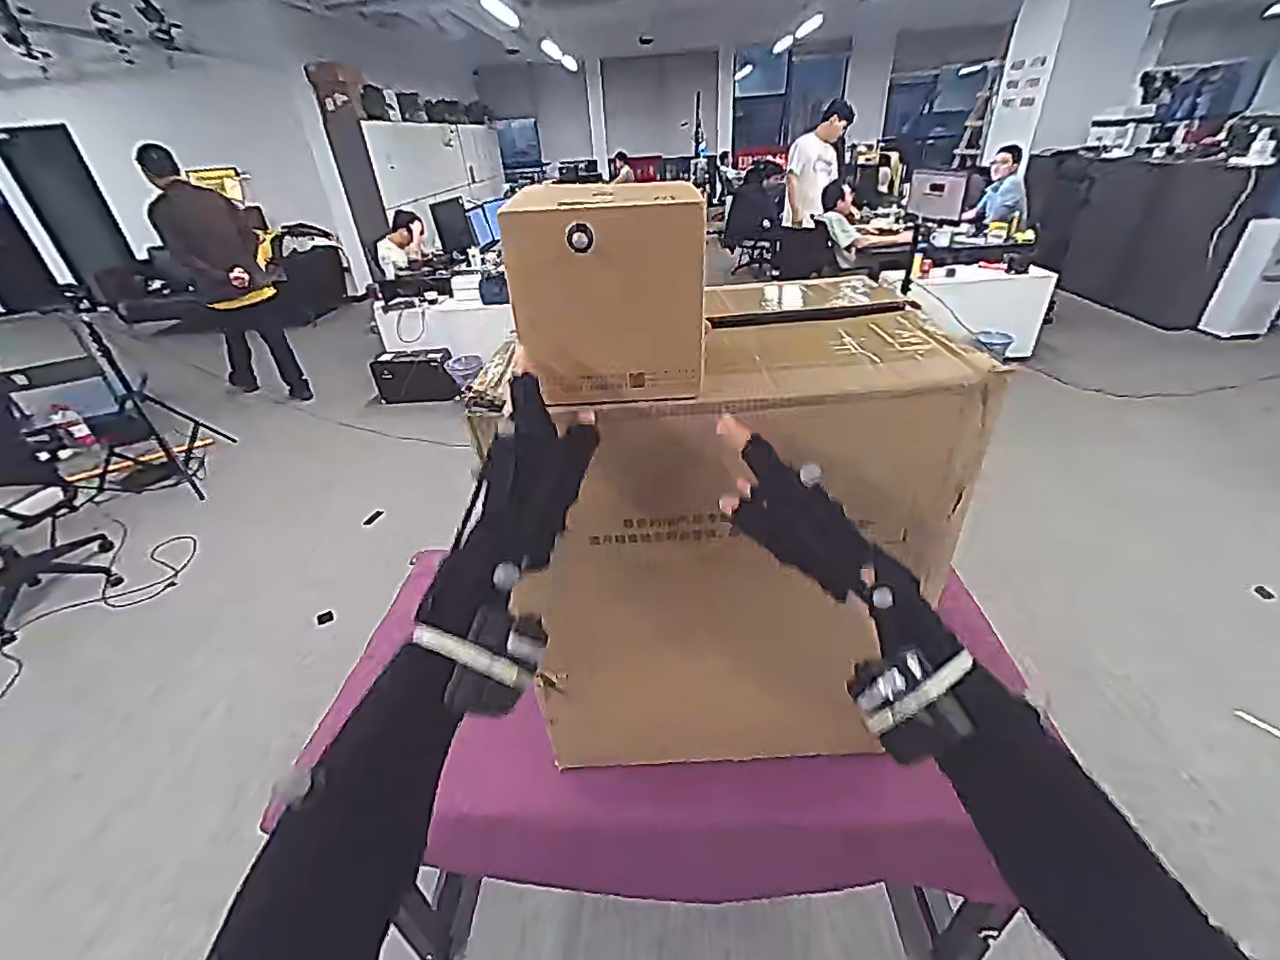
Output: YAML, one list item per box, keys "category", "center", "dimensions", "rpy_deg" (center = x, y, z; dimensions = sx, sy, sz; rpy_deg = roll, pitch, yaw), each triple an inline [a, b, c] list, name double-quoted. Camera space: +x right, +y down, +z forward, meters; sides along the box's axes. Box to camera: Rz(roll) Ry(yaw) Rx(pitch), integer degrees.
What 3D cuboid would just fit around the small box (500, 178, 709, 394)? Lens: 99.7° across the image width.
- category: "small box"
  center: [-0.026, -0.194, 0.530]
  dimensions: [0.168, 0.176, 0.179]
  rpy_deg: [-3, 32, 1]
